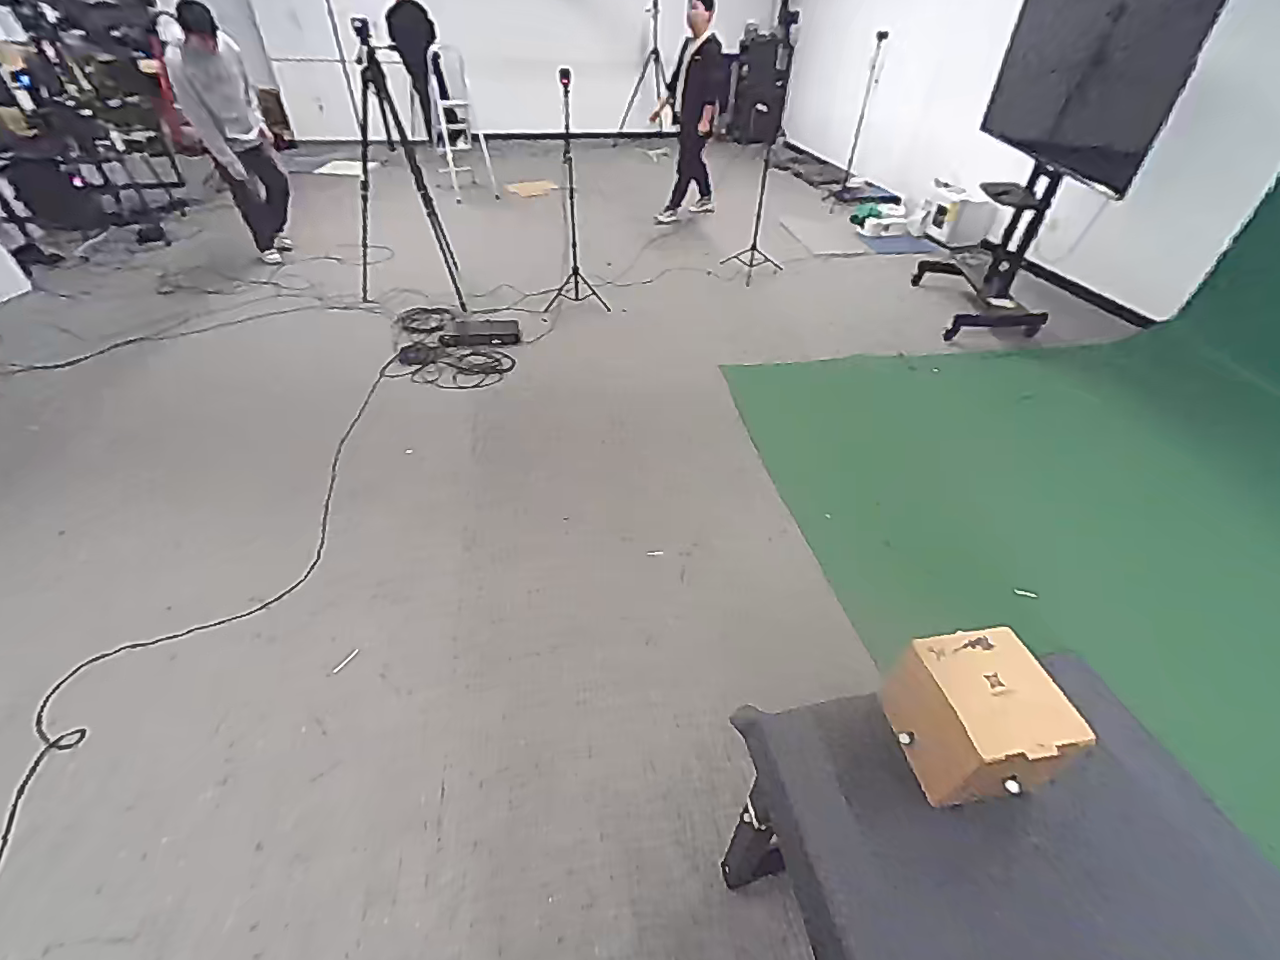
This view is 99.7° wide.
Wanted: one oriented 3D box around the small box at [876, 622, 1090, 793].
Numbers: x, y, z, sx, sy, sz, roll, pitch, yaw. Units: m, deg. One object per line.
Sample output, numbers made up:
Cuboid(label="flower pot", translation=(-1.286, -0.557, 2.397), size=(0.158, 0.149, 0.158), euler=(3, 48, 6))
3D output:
Cuboid(label="small box", translation=(0.482, 0.337, 0.794), size=(0.168, 0.176, 0.179), euler=(-5, 43, -8))
